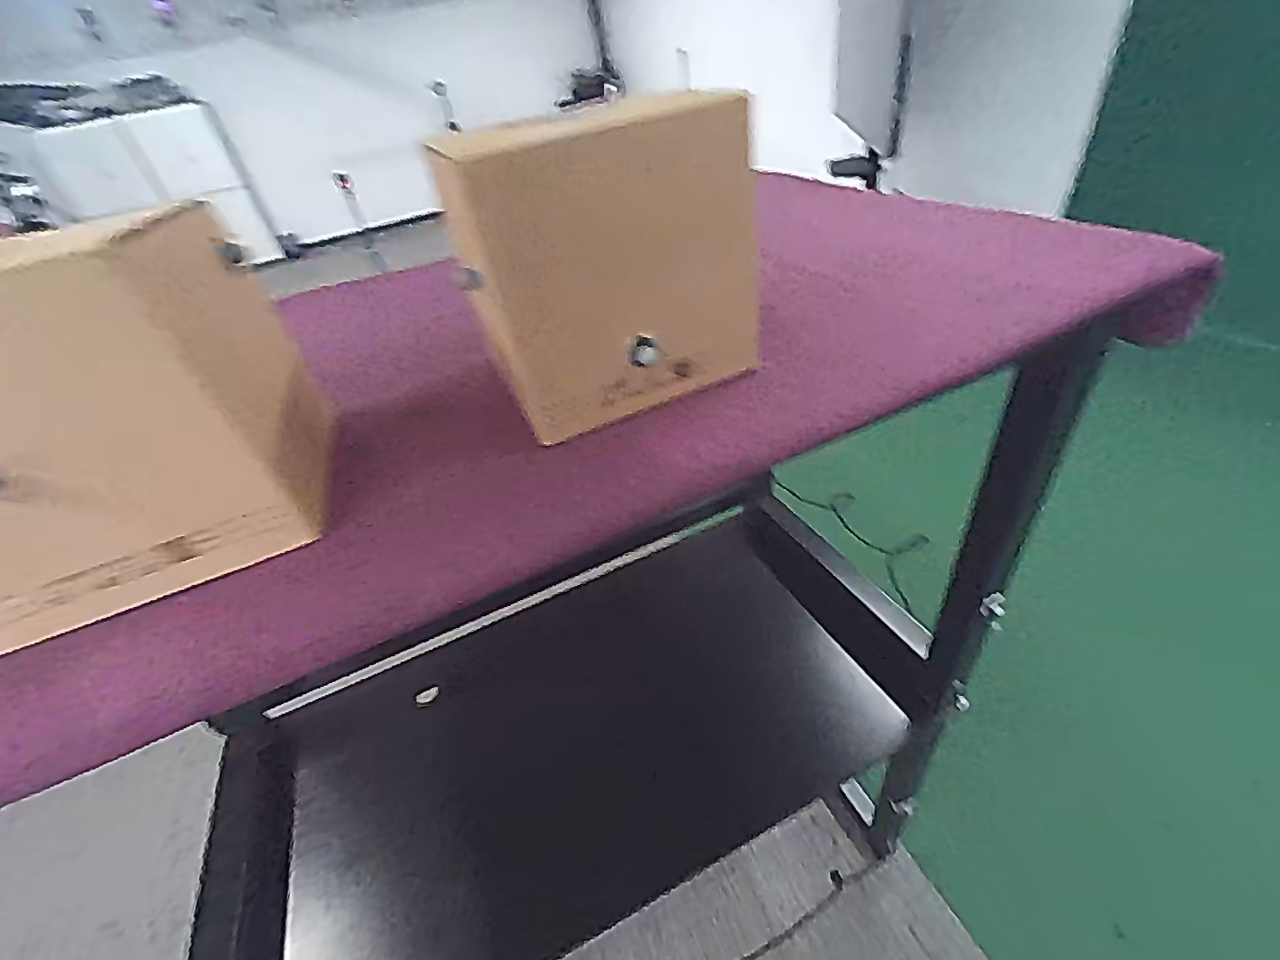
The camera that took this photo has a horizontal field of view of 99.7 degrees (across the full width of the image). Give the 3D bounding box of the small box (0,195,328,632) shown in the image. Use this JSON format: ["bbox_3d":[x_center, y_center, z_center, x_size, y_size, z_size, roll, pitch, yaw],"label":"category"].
[{"bbox_3d":[-0.304,-0.041,0.307,0.168,0.176,0.179,-22,38,-13],"label":"small box"}]
